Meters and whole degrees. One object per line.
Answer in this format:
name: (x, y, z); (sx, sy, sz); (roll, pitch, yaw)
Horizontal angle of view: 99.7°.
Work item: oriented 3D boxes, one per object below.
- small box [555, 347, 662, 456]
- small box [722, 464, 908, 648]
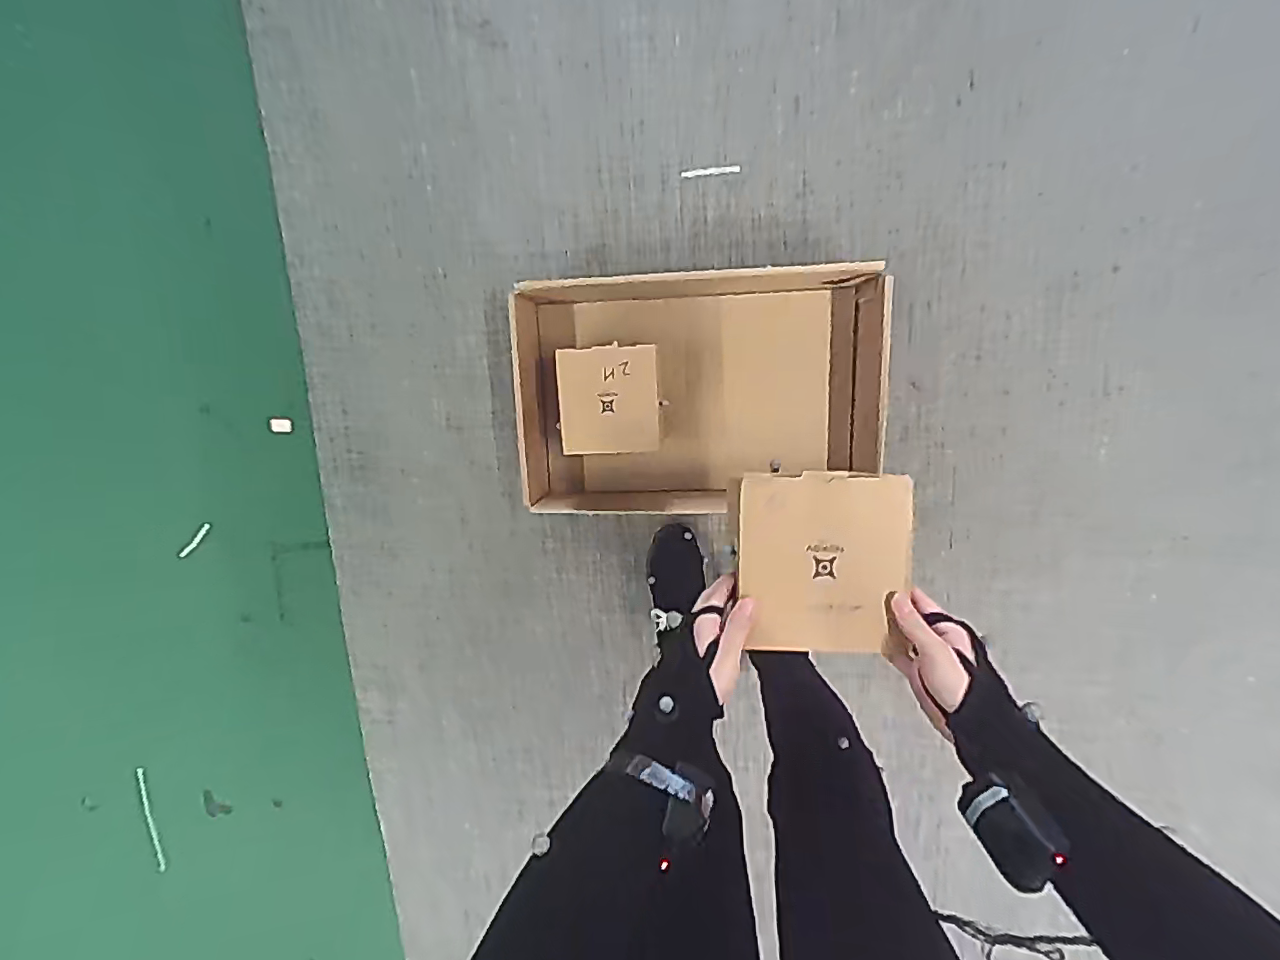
small box: (-0.047, -0.141, 0.961); (0.168, 0.176, 0.179); (-1, 100, 5)
small box: (0.182, 0.073, 0.609); (0.168, 0.176, 0.179); (2, 91, 5)
